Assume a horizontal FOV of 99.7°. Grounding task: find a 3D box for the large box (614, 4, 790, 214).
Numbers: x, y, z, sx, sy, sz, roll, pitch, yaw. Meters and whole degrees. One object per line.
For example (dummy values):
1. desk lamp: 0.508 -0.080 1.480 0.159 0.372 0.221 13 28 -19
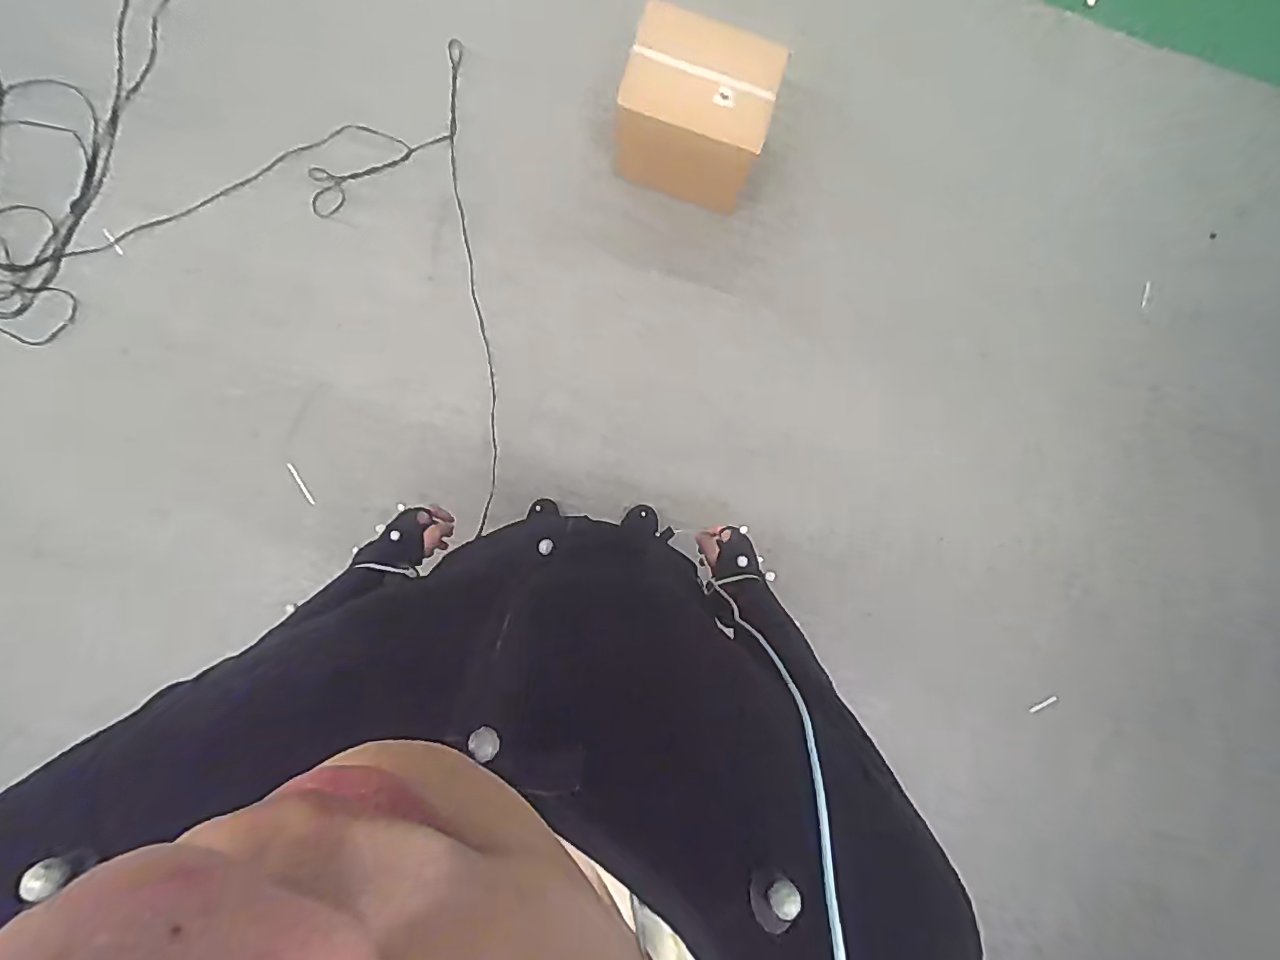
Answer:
1. large box: 0.160 -1.054 1.578 0.408 0.320 0.320 17 86 -4
